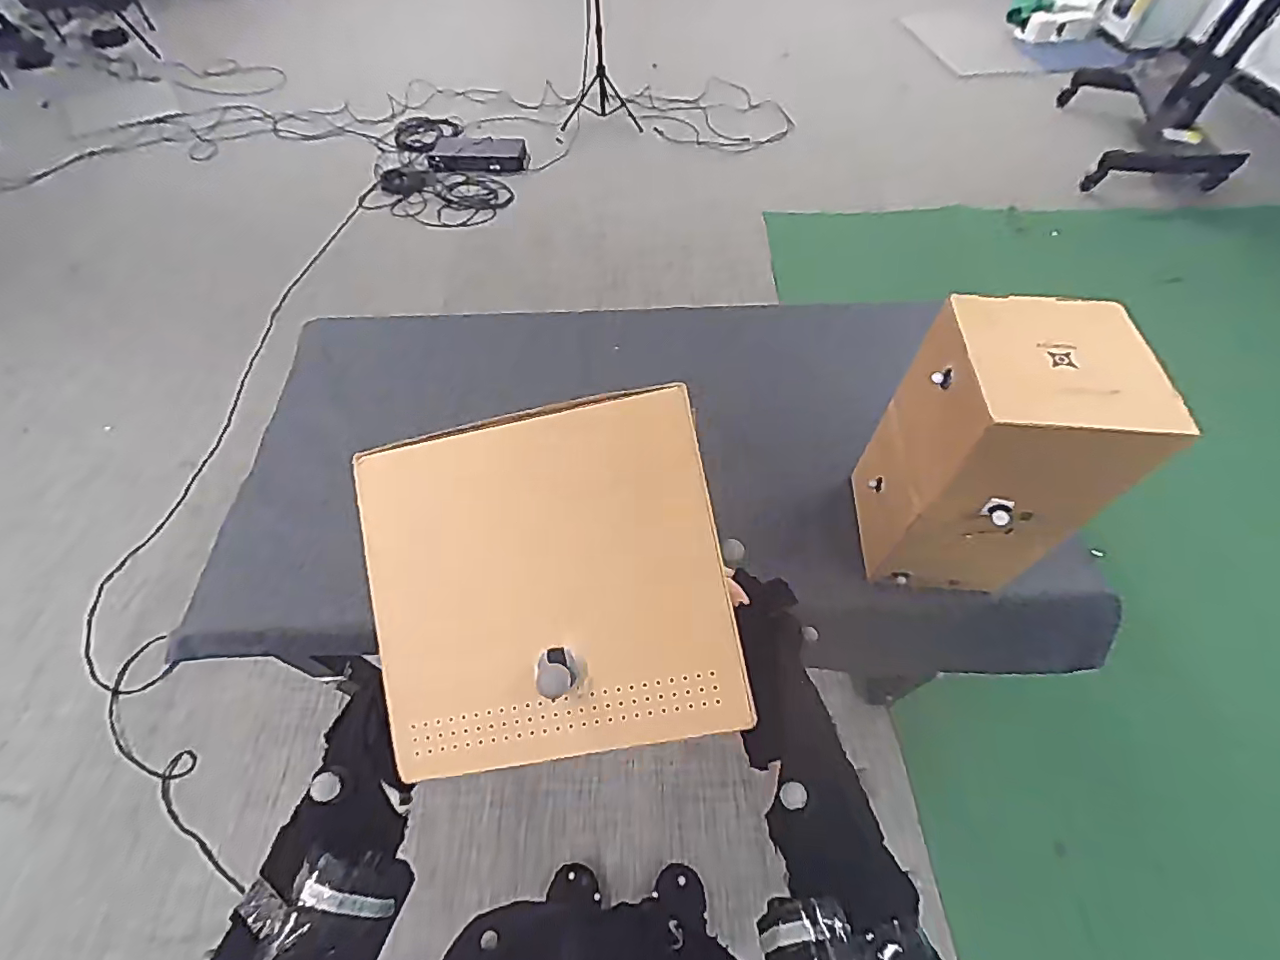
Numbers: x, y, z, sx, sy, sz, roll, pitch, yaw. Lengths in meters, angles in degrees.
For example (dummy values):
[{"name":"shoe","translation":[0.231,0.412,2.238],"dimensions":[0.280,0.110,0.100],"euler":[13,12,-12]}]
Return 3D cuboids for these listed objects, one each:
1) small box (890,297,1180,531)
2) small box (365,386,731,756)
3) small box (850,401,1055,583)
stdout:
[{"name":"small box","translation":[0.384,-0.067,0.572],"dimensions":[0.168,0.176,0.179],"euler":[4,57,5]},{"name":"small box","translation":[-0.040,0.054,0.352],"dimensions":[0.179,0.168,0.176],"euler":[-11,84,5]},{"name":"small box","translation":[0.389,0.021,0.708],"dimensions":[0.168,0.176,0.179],"euler":[4,55,4]}]
